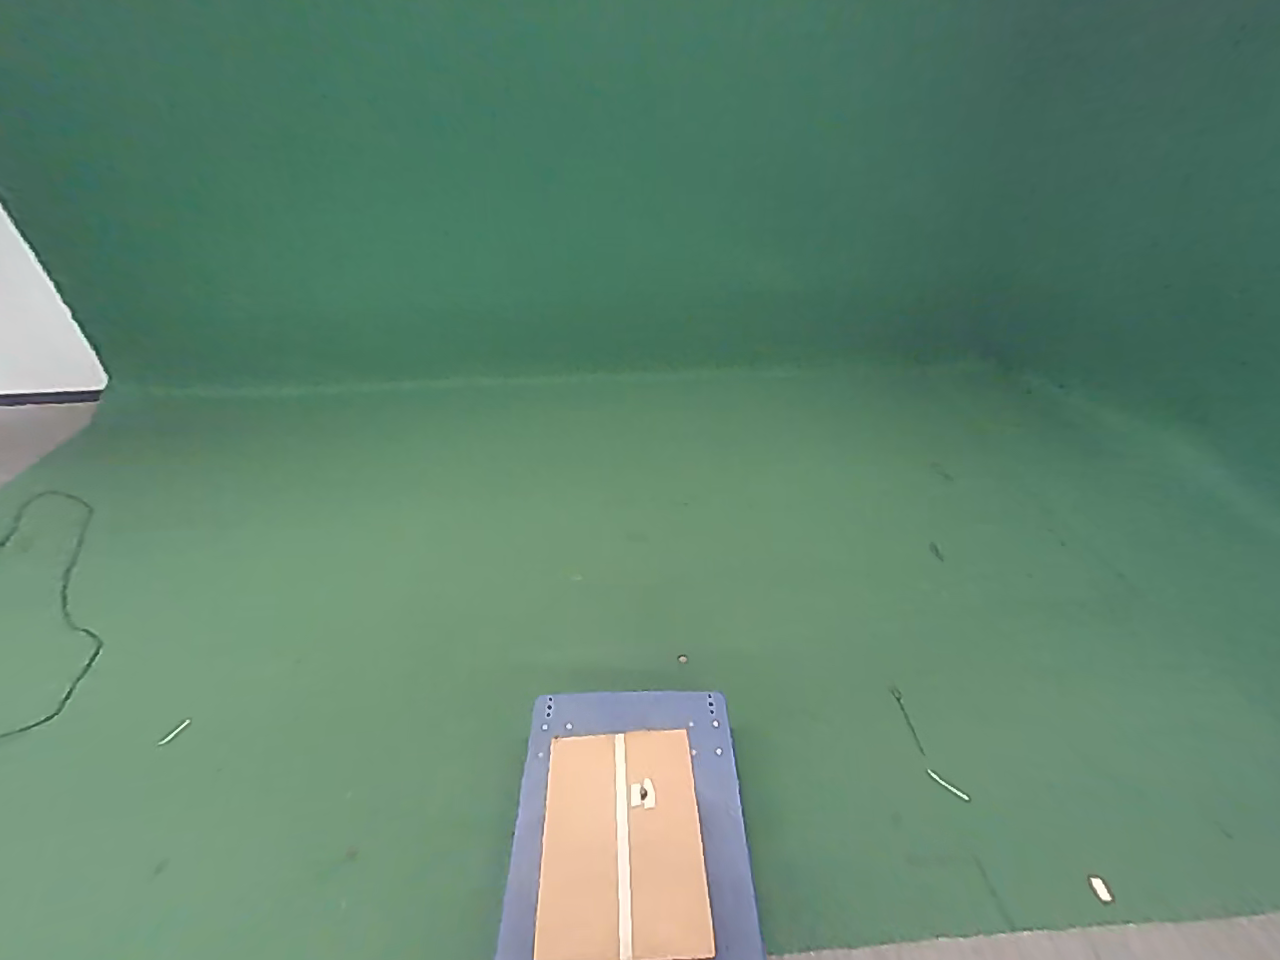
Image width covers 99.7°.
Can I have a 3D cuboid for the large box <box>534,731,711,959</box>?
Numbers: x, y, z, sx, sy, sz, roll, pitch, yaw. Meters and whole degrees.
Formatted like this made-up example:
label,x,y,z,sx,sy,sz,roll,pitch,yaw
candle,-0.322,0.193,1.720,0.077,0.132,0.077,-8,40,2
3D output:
label,x,y,z,sx,sy,sz,roll,pitch,yaw
large box,-0.038,0.825,1.168,0.320,0.320,0.408,-2,36,-2
